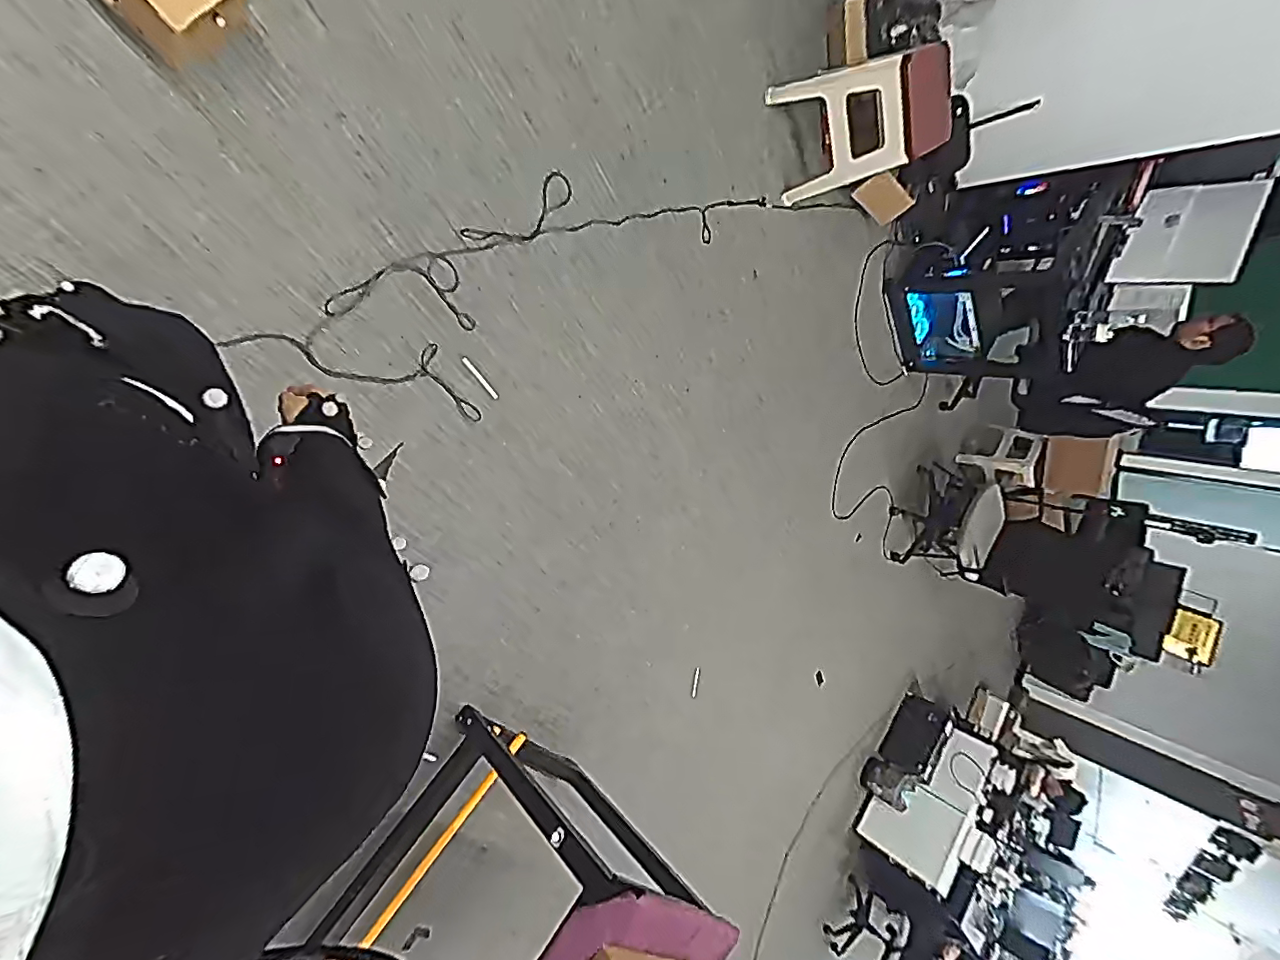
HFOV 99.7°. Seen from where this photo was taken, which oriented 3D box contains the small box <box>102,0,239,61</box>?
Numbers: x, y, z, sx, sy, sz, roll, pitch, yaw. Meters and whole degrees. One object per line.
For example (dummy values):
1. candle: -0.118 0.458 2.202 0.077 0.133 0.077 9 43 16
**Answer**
1. small box: -0.773 -0.827 0.864 0.179 0.176 0.168 -55 131 -15
